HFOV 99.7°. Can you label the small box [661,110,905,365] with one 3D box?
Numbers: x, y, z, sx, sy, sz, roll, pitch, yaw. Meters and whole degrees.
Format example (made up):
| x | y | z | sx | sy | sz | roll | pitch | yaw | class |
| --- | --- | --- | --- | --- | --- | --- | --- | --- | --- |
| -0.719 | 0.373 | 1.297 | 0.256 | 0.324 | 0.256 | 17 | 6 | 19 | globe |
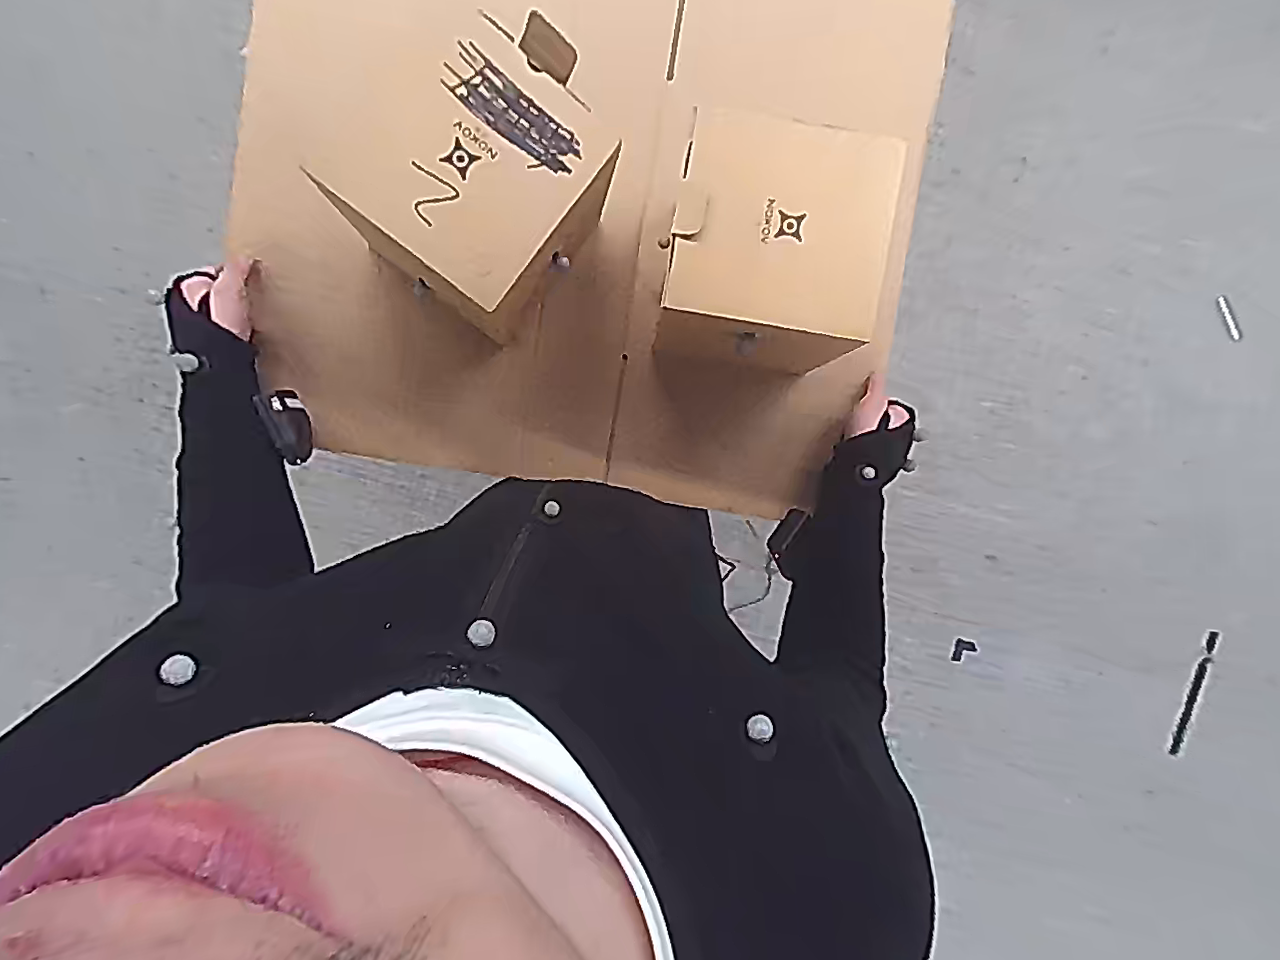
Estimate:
| x | y | z | sx | sy | sz | roll | pitch | yaw | class |
| --- | --- | --- | --- | --- | --- | --- | --- | --- | --- |
| 0.122 | -0.215 | 0.531 | 0.179 | 0.176 | 0.168 | 9 | 92 | -1 | small box |
